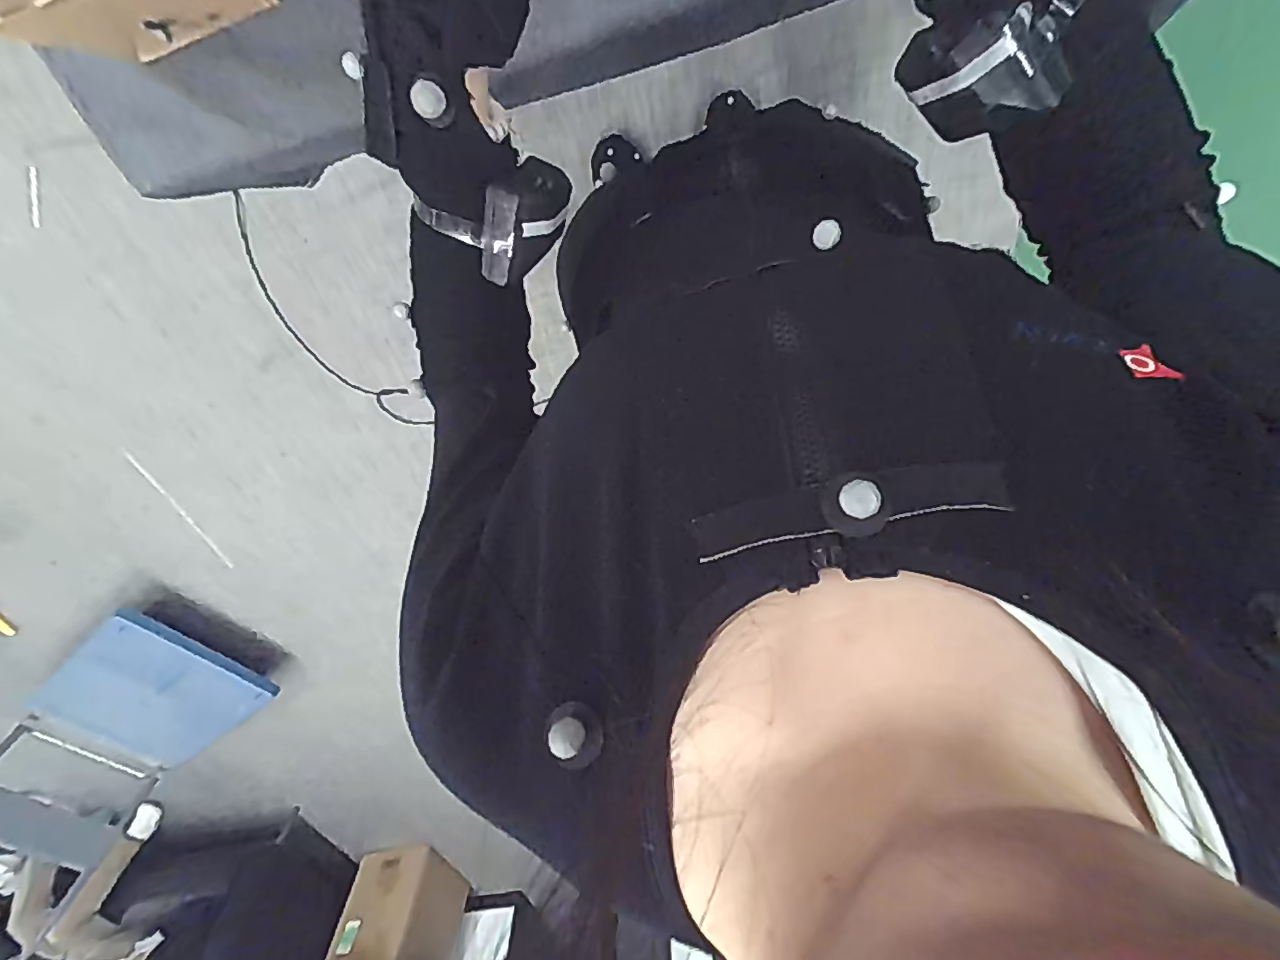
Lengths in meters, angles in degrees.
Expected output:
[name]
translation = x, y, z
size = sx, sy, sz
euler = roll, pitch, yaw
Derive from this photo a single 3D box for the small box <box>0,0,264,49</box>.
[small box]
translation = -0.436, -0.461, 0.402
size = 0.168, 0.176, 0.179
euler = -14, 122, 9
